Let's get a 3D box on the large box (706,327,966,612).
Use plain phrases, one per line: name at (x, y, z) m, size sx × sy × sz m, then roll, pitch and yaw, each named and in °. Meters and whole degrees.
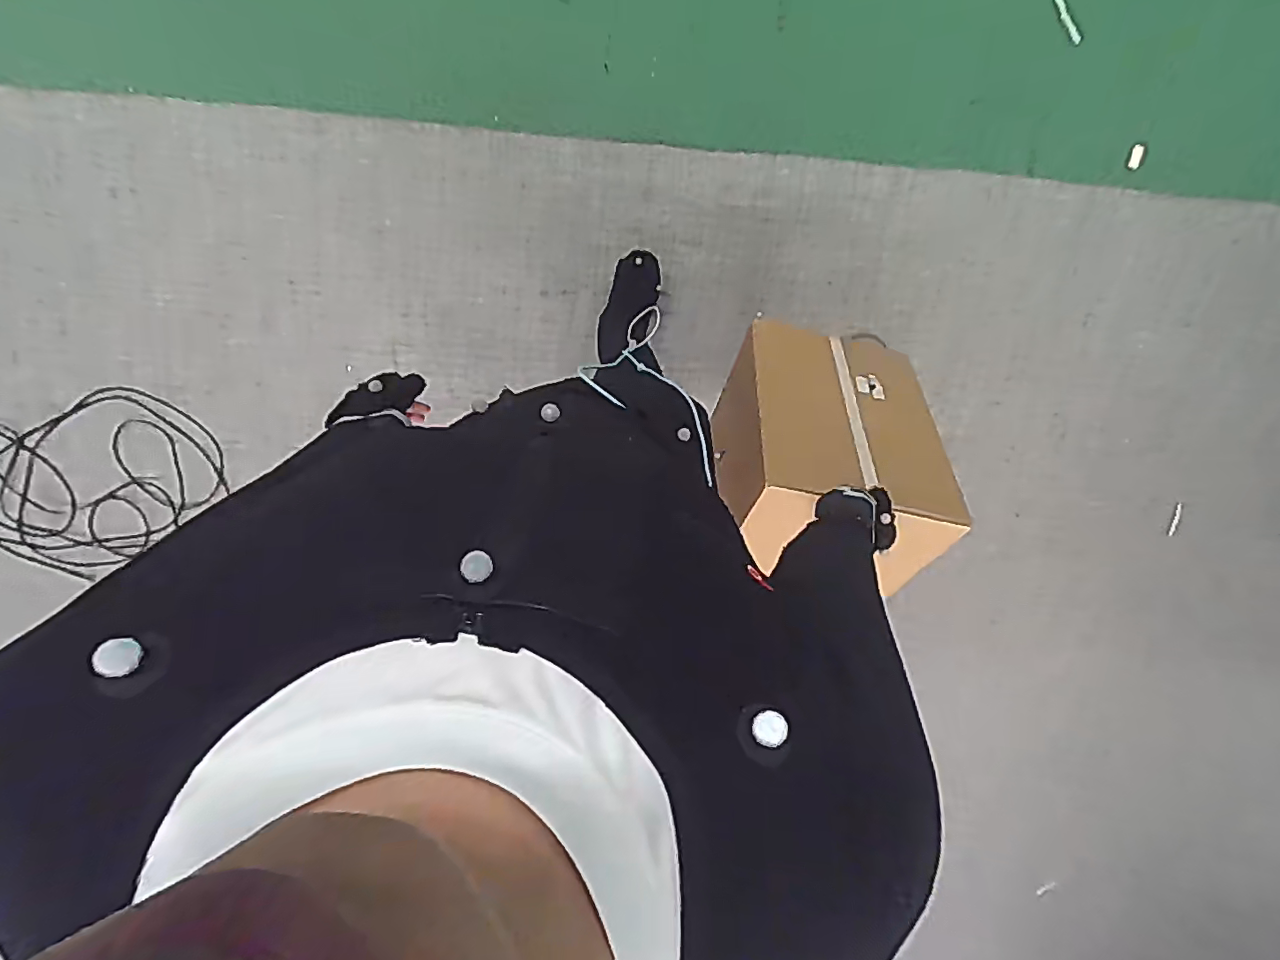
large box at (0.311, -0.017, 1.007) m, size 0.320 × 0.408 × 0.320 m, roll 12°, pitch 139°, yaw -6°
